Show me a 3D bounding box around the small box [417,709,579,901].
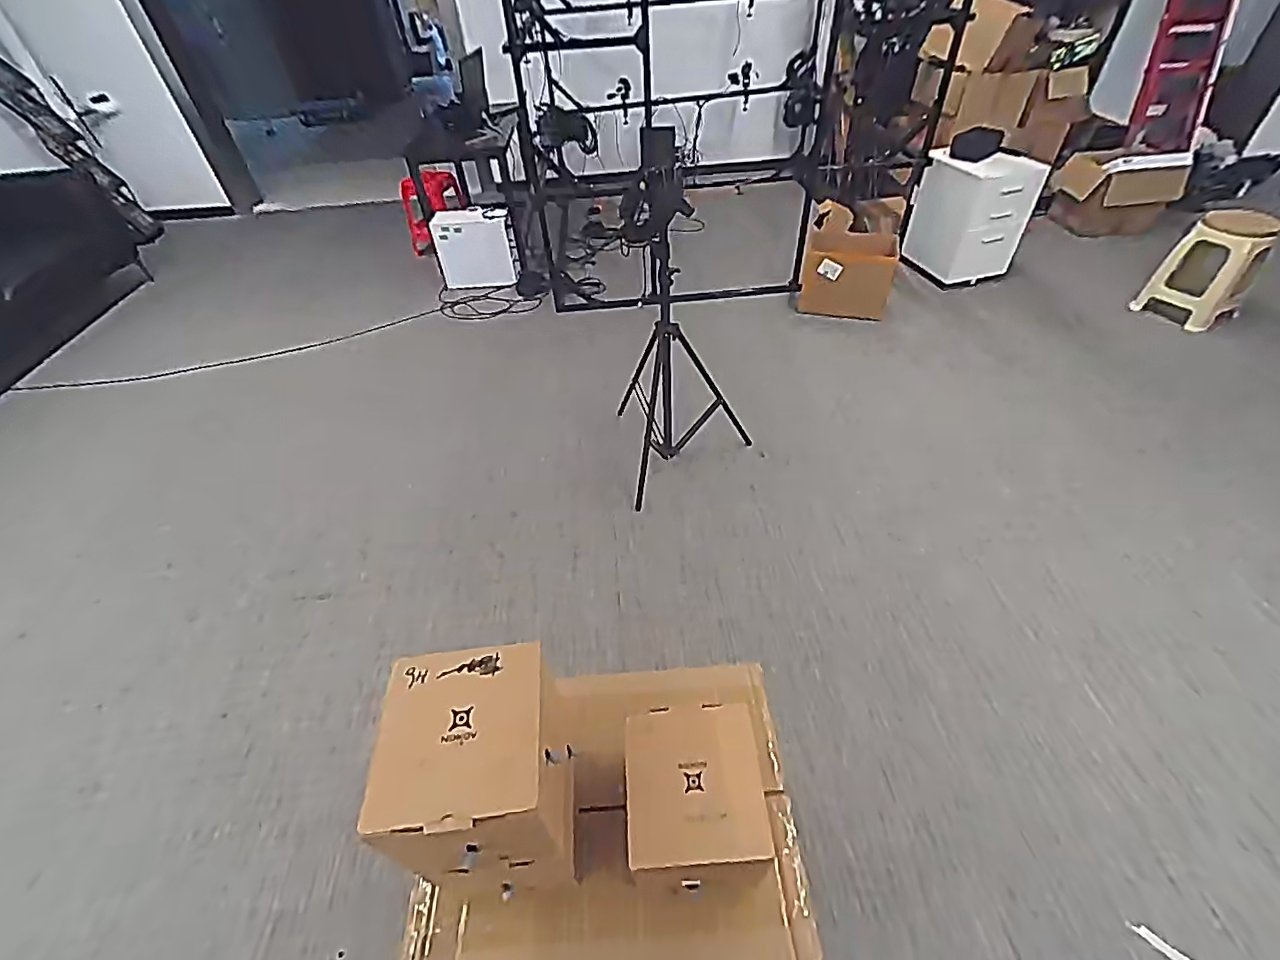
[{"bbox_3d":[-0.174,0.432,0.722,0.168,0.176,0.179,-5,44,-2],"label":"small box"}]

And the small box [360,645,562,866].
[{"bbox_3d":[-0.180,0.313,0.609,0.168,0.176,0.179,-6,45,-3],"label":"small box"}]

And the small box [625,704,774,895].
[{"bbox_3d":[0.070,0.422,0.716,0.168,0.176,0.179,-6,46,1],"label":"small box"}]
